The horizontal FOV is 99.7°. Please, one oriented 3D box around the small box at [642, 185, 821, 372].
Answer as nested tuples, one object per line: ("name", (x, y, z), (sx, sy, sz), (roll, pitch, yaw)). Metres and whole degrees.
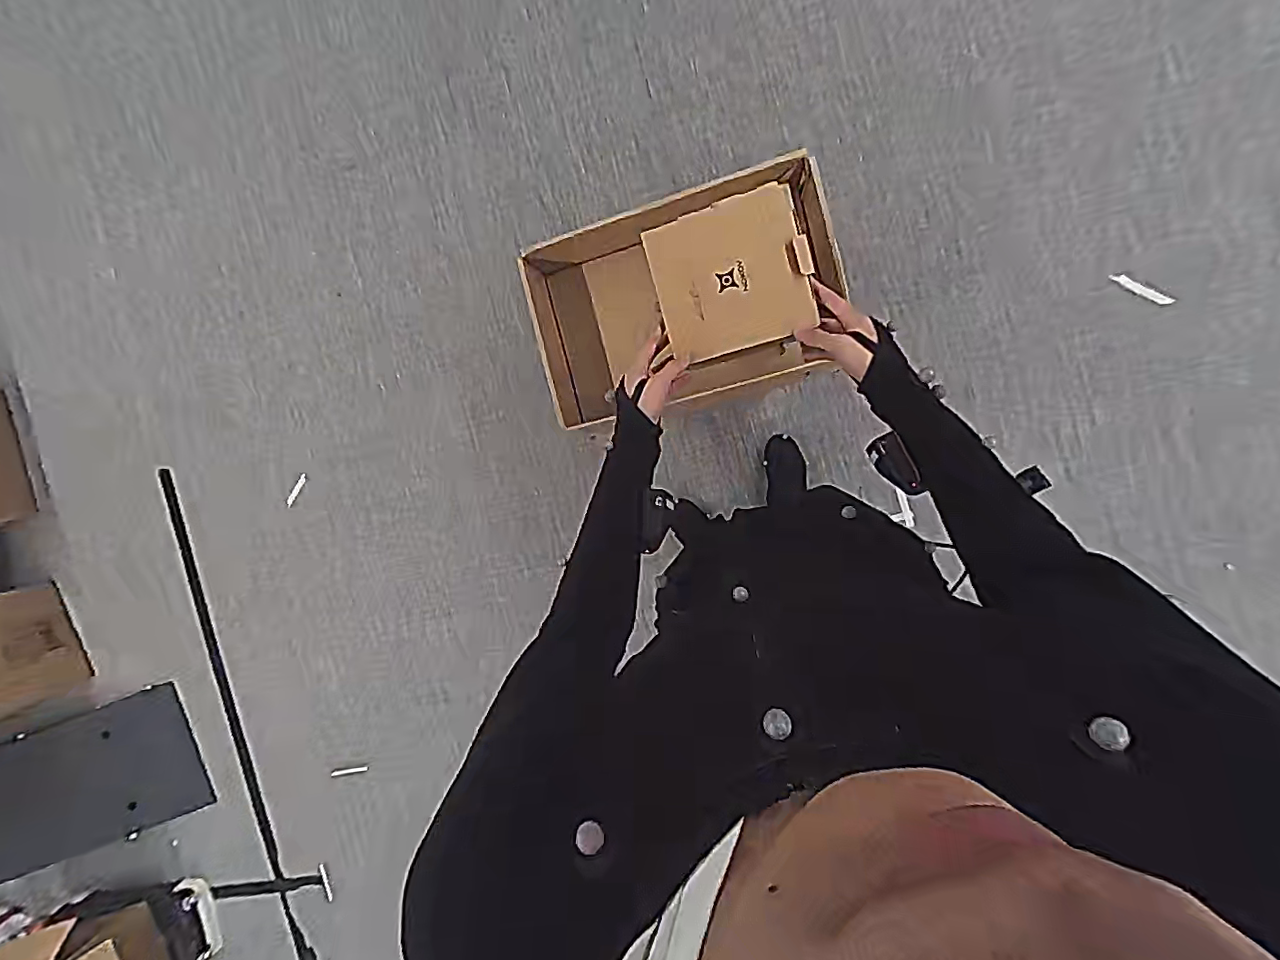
("small box", (0.115, -0.243, 0.698), (0.179, 0.176, 0.168), (-14, 96, 11))
